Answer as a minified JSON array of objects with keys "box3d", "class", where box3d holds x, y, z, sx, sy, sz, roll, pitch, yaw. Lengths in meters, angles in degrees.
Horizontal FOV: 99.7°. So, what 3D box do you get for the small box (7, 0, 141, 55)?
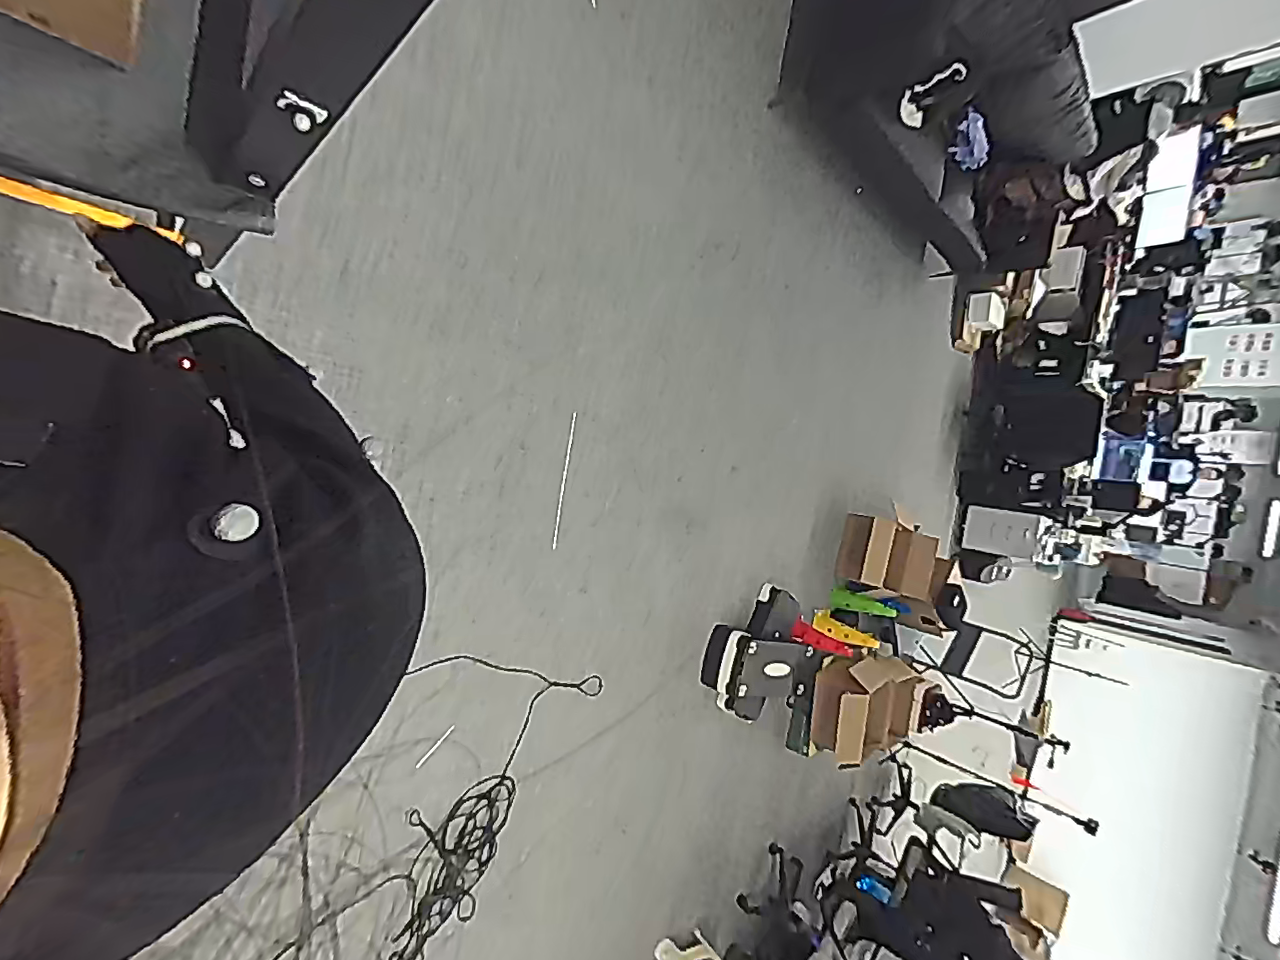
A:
[{"box3d":[-0.496,-0.494,0.423,0.168,0.176,0.179,9,90,-45],"class":"small box"}]
